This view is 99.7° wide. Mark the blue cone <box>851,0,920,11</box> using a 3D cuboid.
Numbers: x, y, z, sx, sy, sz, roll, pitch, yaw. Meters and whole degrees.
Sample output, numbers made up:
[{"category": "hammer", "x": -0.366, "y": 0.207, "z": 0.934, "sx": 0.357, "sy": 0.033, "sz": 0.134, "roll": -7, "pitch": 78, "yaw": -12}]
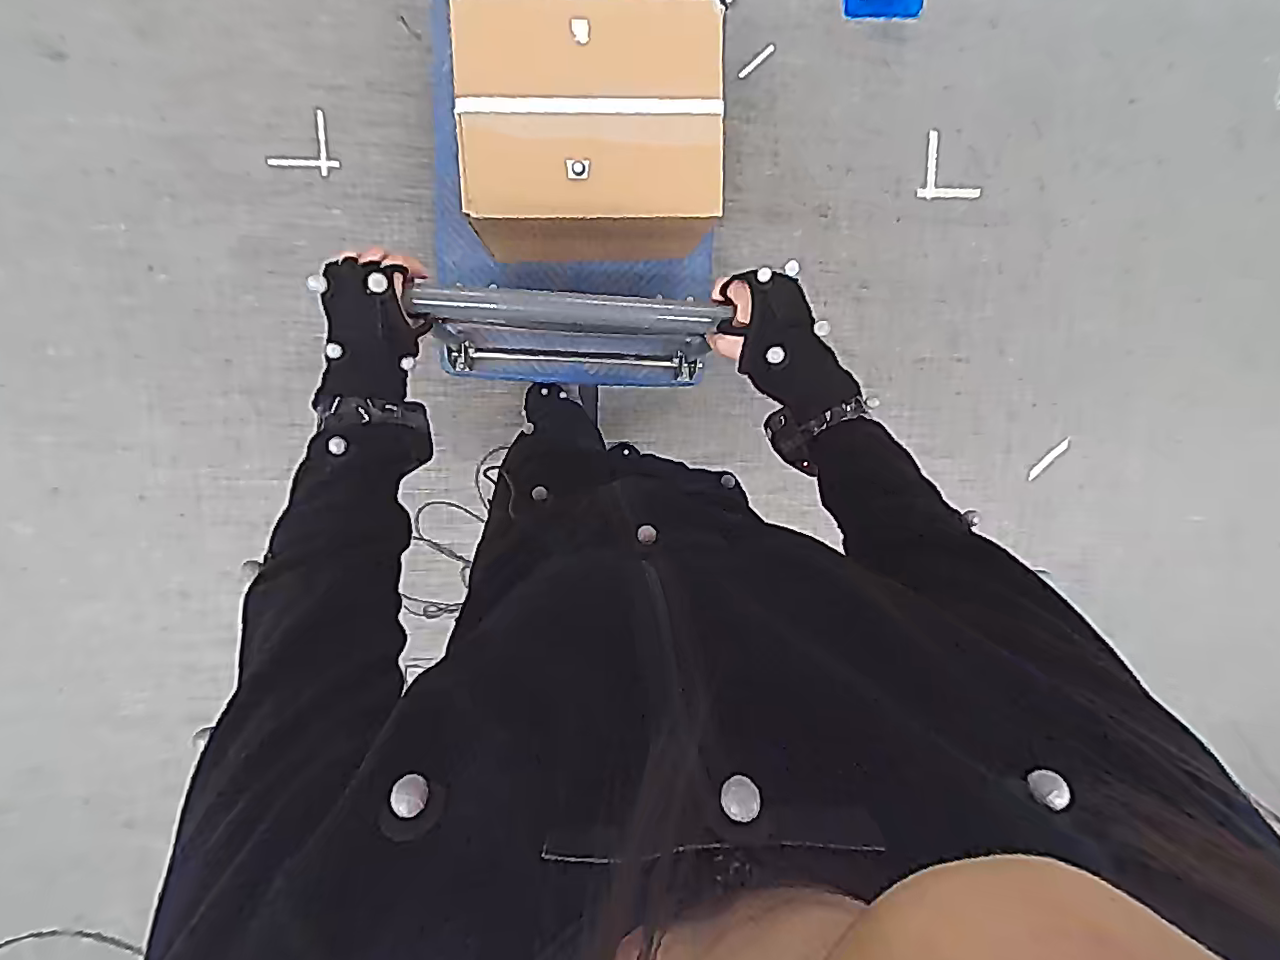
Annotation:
[{"category": "blue cone", "x": 0.599, "y": -1.184, "z": 1.109, "sx": 0.193, "sy": 0.380, "sz": 0.192, "roll": -4, "pitch": 99, "yaw": -6}]
